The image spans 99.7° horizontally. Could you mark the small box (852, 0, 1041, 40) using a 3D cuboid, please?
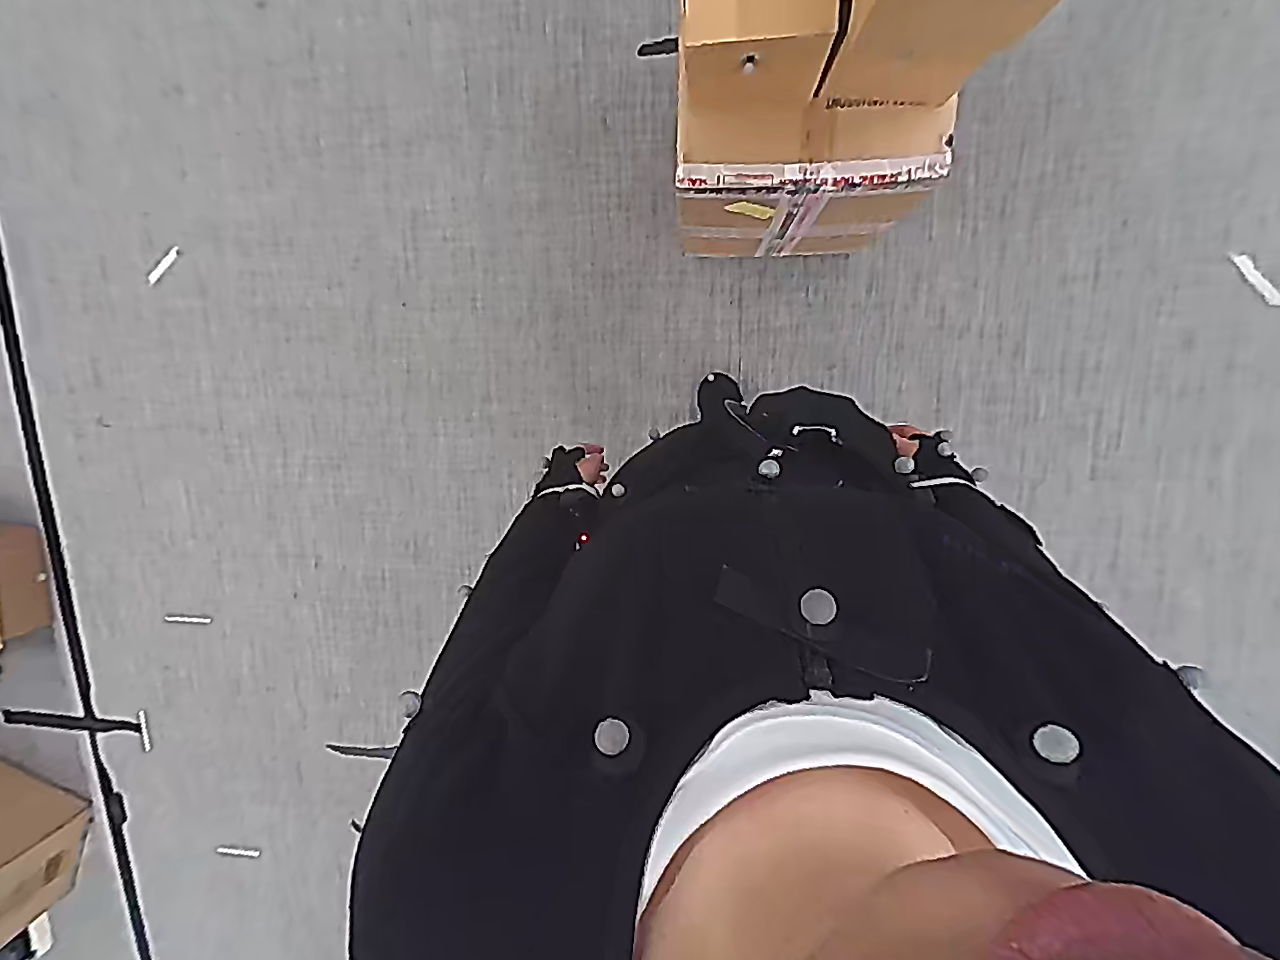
[{"bbox_3d":[0.318,-0.549,0.502,0.179,0.176,0.168,3,101,5],"label":"small box"}]

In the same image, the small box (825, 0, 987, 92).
[{"bbox_3d":[0.339,-0.605,0.657,0.179,0.176,0.168,6,102,4],"label":"small box"}]
